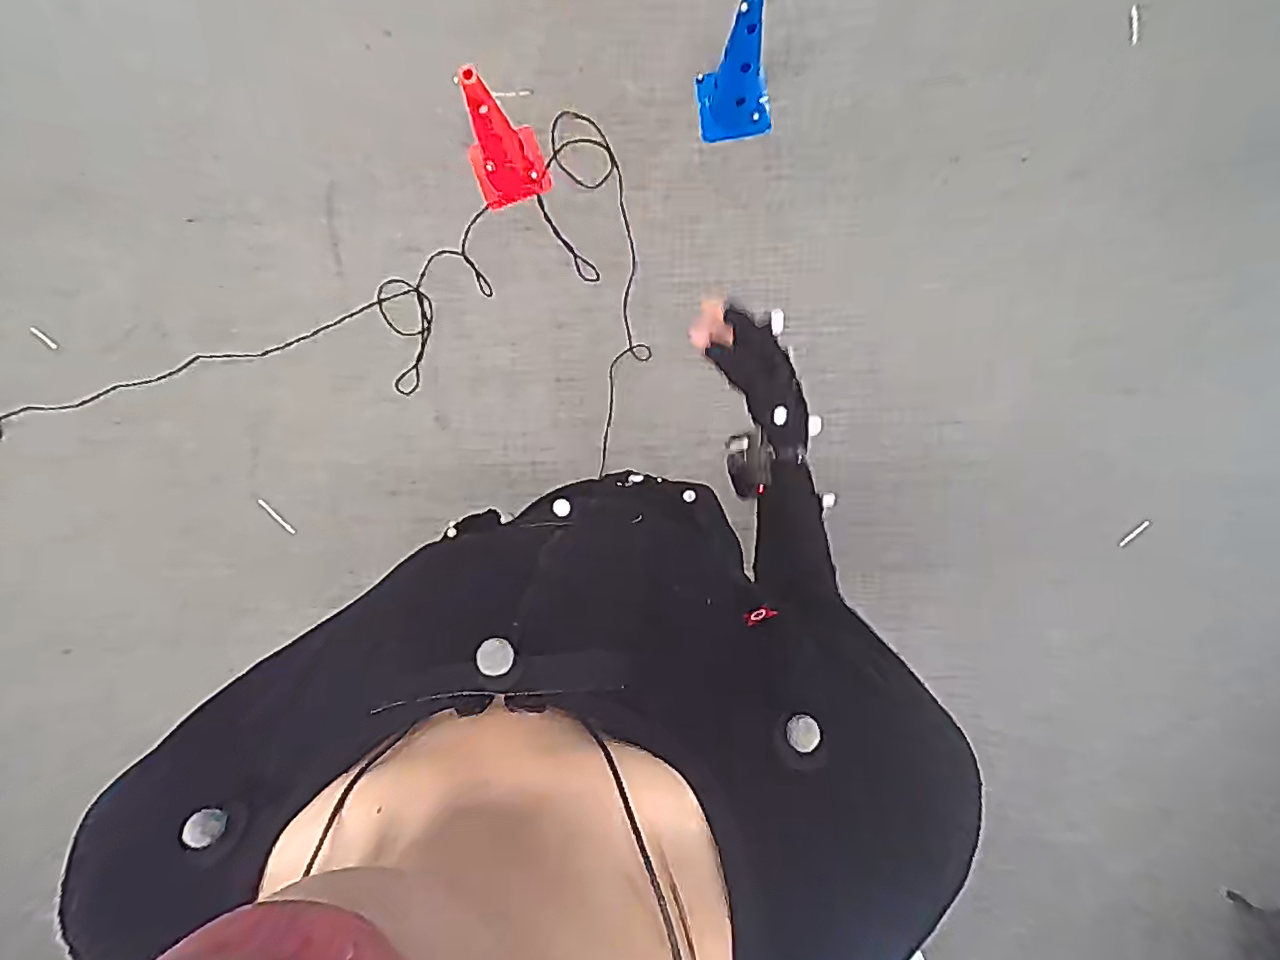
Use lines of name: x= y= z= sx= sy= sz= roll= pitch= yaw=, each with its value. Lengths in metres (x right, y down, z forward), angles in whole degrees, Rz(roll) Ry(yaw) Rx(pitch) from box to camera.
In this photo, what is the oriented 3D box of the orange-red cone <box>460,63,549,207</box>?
orange-red cone: x=-0.379 y=-0.900 z=1.370 sx=0.198 sy=0.360 sz=0.199 roll=-20 pitch=87 yaw=0
